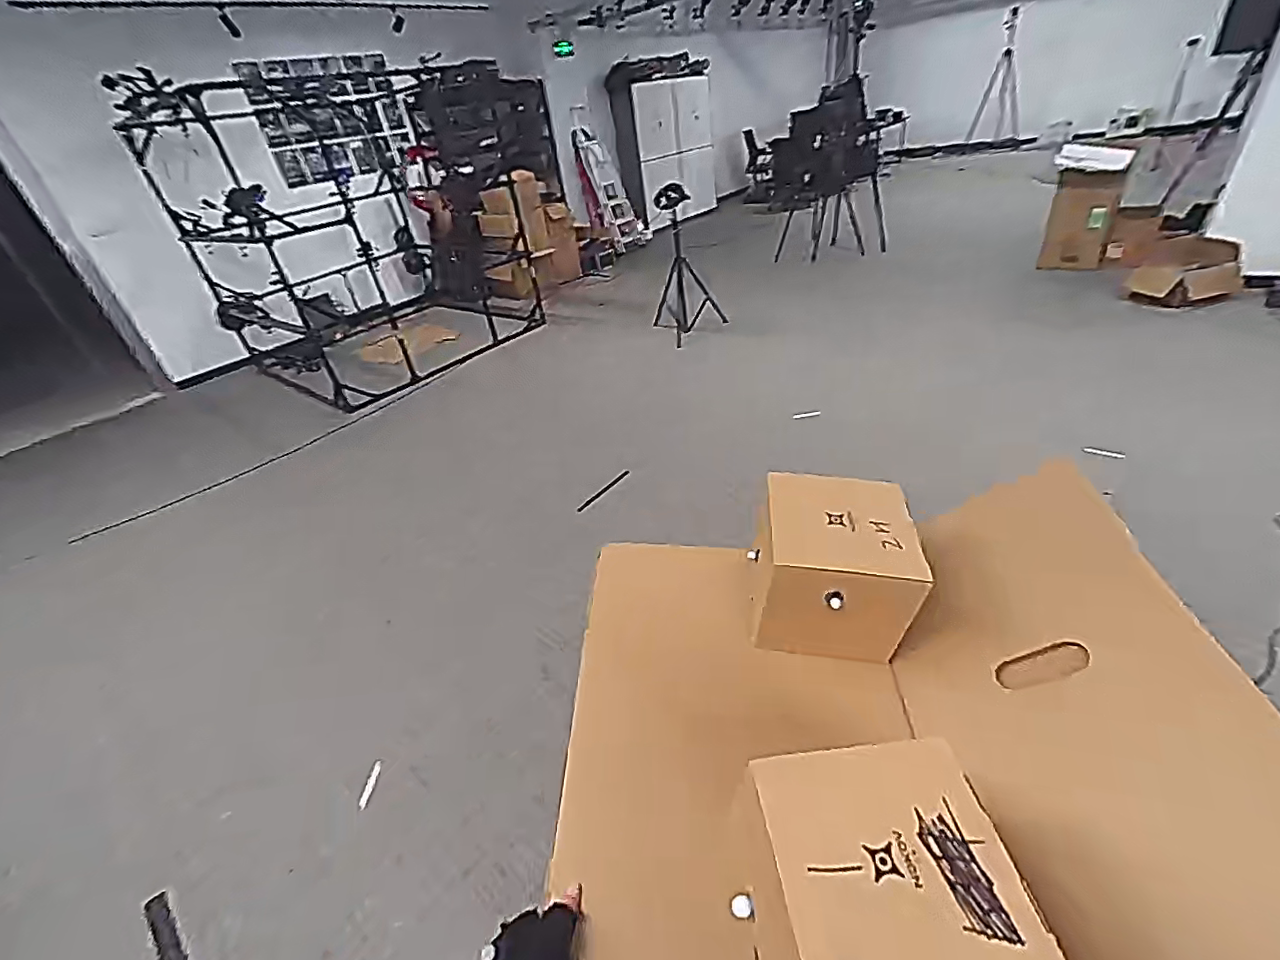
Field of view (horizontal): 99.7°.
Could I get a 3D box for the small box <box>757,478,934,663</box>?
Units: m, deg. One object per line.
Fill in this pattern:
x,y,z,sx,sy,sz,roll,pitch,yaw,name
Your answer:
0.253,0.120,0.715,0.179,0.176,0.168,7,42,6,small box

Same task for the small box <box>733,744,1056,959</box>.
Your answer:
0.188,0.345,0.455,0.179,0.176,0.168,-3,41,-4,small box
